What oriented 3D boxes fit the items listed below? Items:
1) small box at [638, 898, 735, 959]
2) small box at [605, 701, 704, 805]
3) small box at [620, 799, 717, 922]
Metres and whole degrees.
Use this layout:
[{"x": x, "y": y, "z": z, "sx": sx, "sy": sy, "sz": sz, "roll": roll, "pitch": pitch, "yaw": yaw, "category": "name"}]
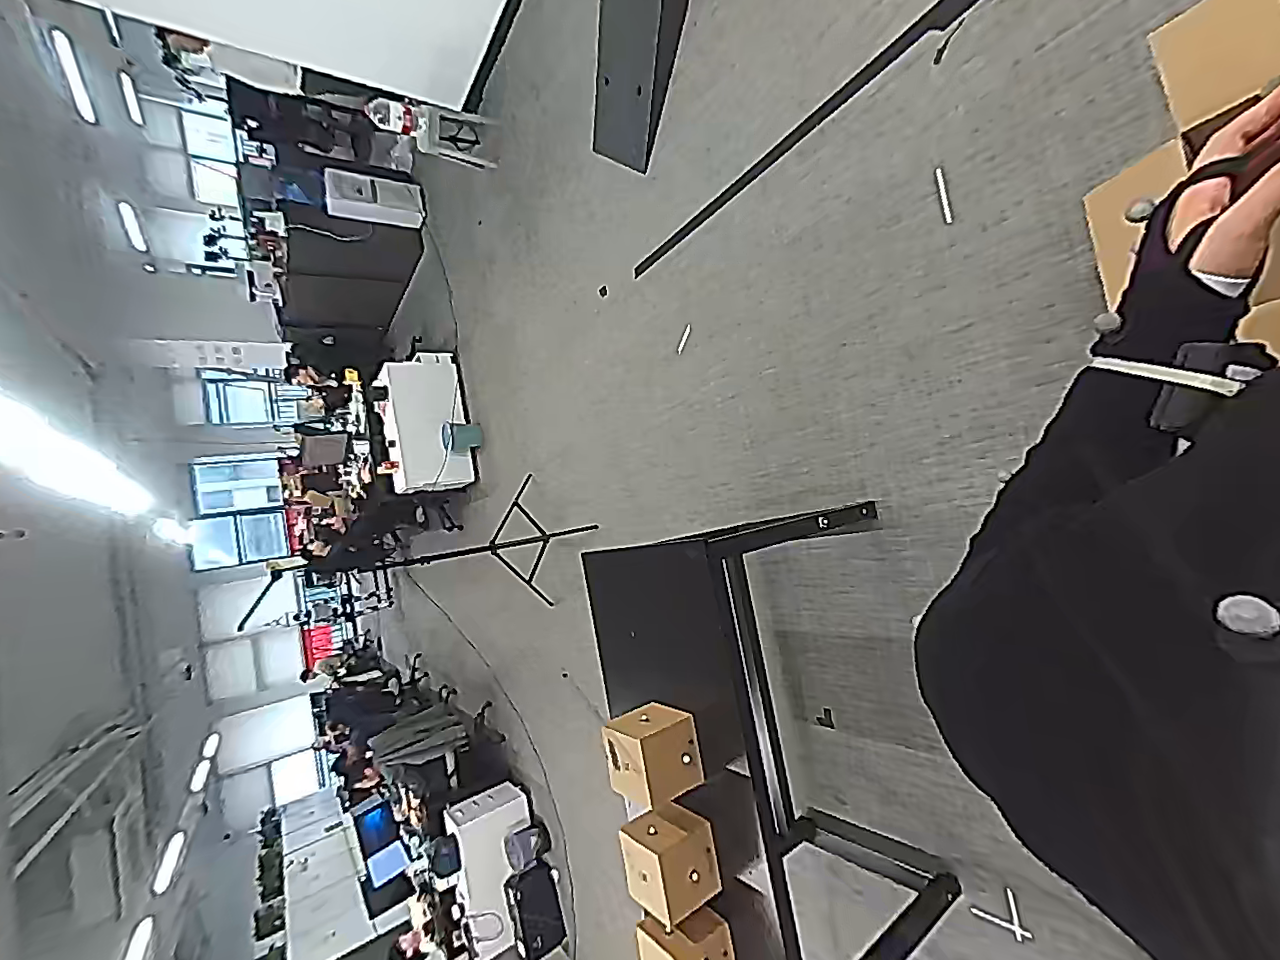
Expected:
[{"x": 0.122, "y": 1.173, "z": 1.342, "sx": 0.179, "sy": 0.176, "sz": 0.168, "roll": -18, "pitch": 80, "yaw": 56, "category": "small box"}, {"x": 0.035, "y": 0.676, "z": 1.365, "sx": 0.179, "sy": 0.176, "sz": 0.168, "roll": -15, "pitch": 84, "yaw": 54, "category": "small box"}, {"x": 0.077, "y": 0.938, "z": 1.356, "sx": 0.179, "sy": 0.176, "sz": 0.168, "roll": -16, "pitch": 83, "yaw": 55, "category": "small box"}]
